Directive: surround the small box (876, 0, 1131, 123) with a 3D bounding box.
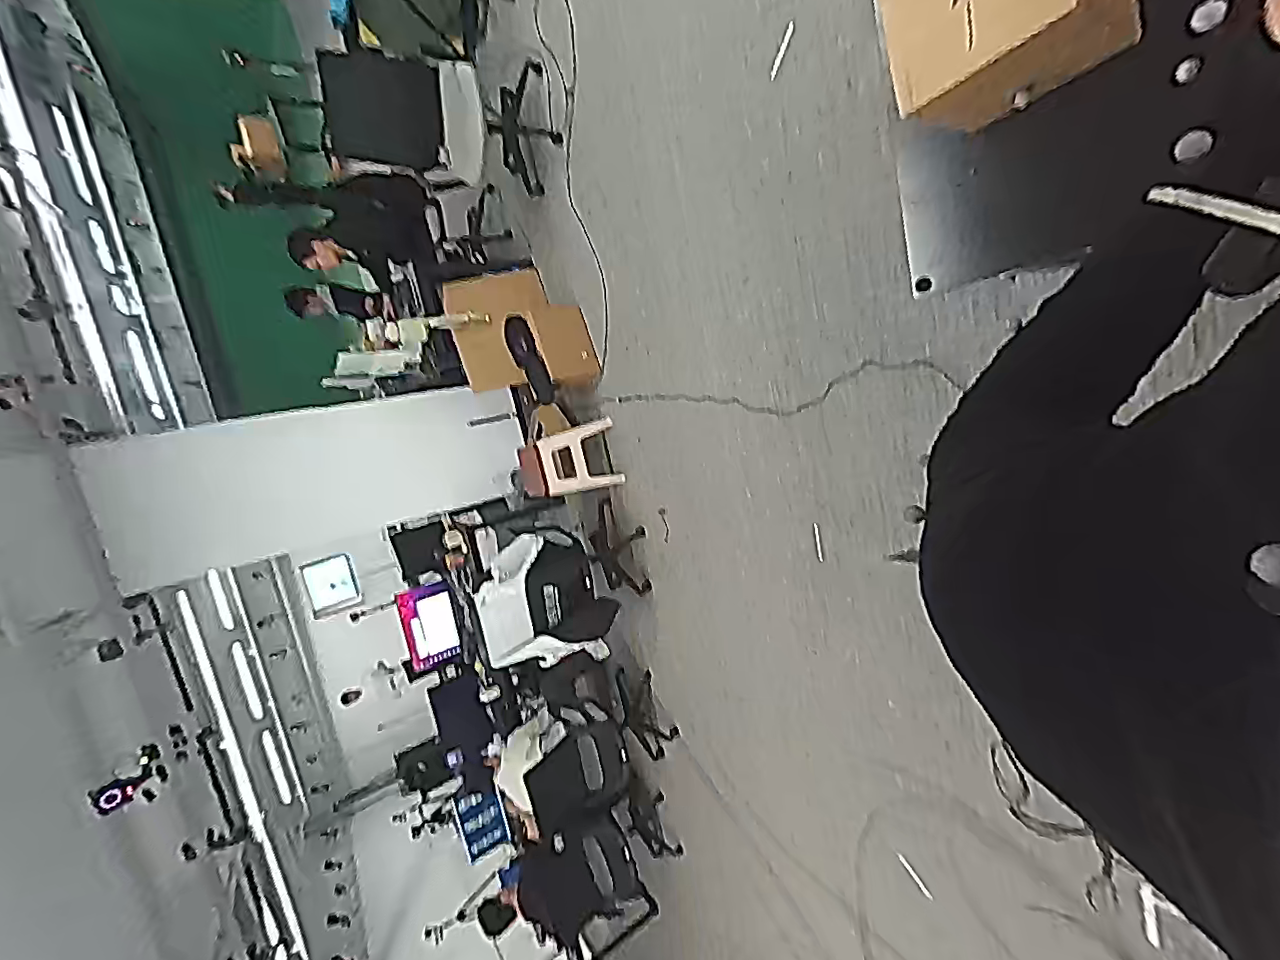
[{"bbox_3d":[0.376,-0.511,0.567,0.168,0.176,0.179,-3,103,58],"label":"small box"}]
